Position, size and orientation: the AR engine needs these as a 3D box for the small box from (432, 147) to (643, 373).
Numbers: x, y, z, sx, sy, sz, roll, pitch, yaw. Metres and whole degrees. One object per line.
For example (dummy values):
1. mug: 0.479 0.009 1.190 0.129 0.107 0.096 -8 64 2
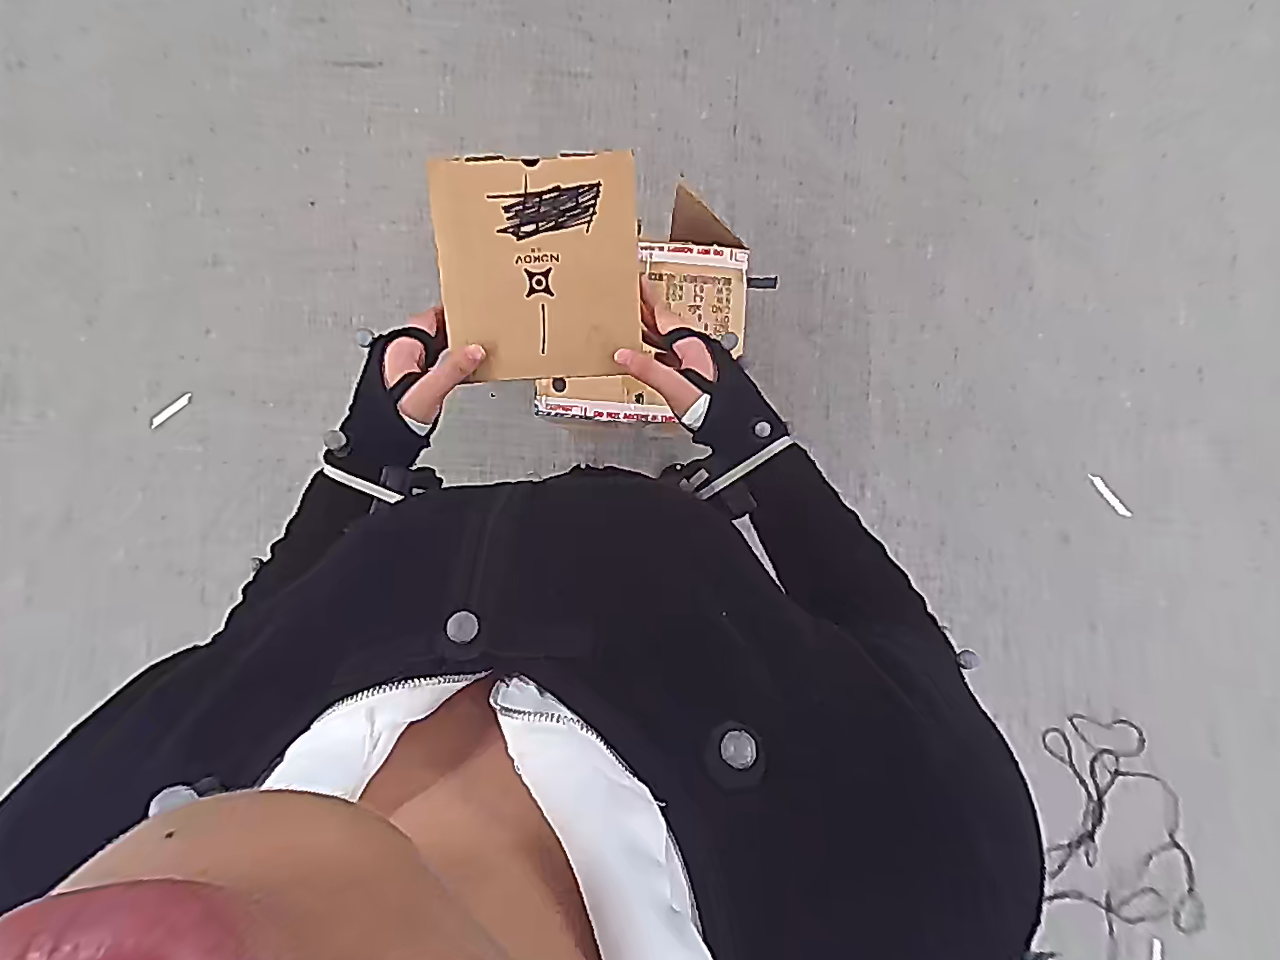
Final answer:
1. small box: -0.085 -0.195 0.526 0.168 0.176 0.179 -3 103 -1
